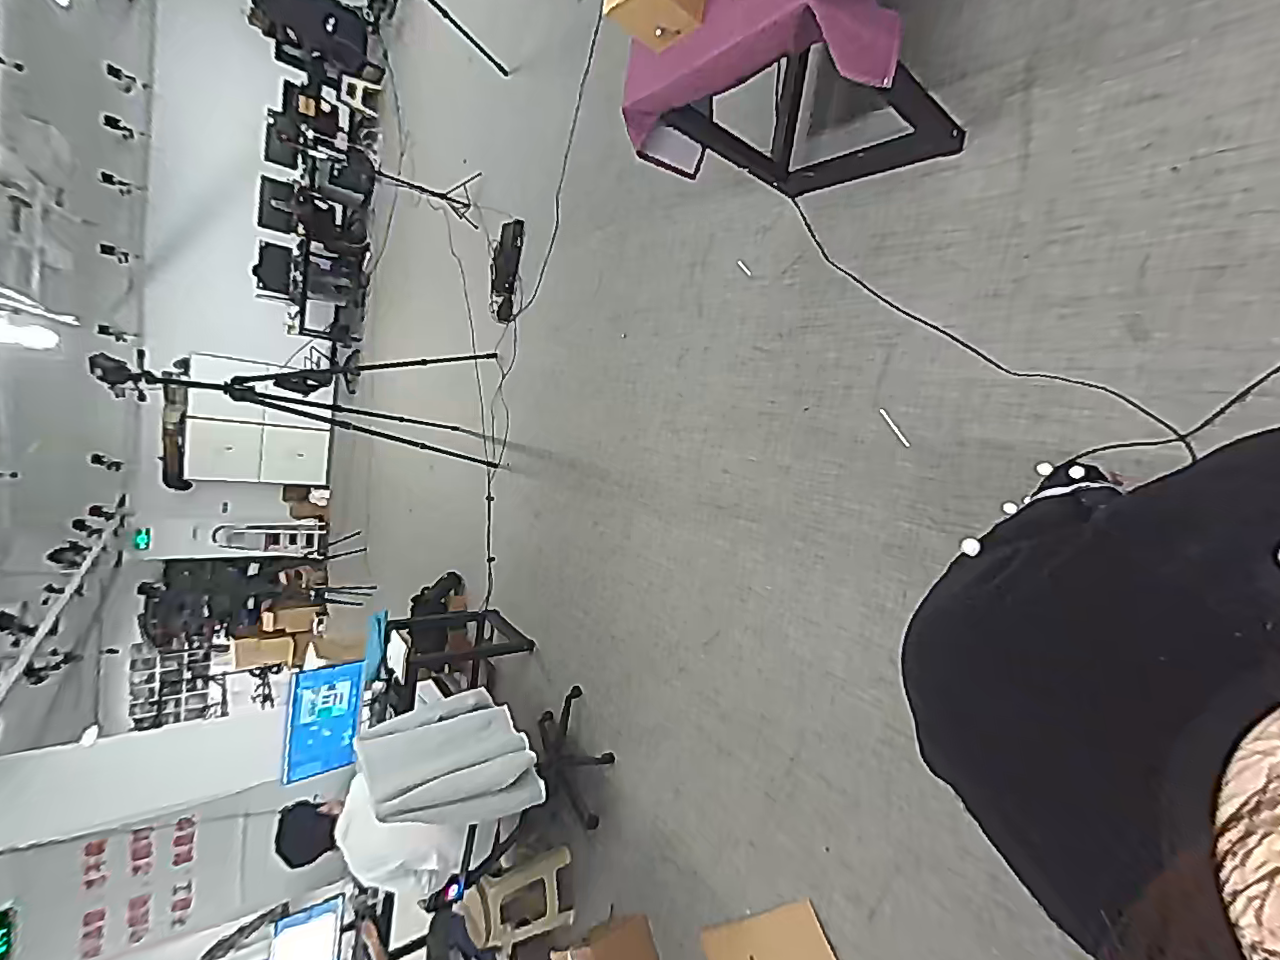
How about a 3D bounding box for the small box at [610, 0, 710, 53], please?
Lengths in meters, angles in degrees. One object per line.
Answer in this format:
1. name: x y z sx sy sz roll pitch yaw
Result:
1. small box: 0.056 -1.147 1.247 0.168 0.176 0.179 20 102 51
